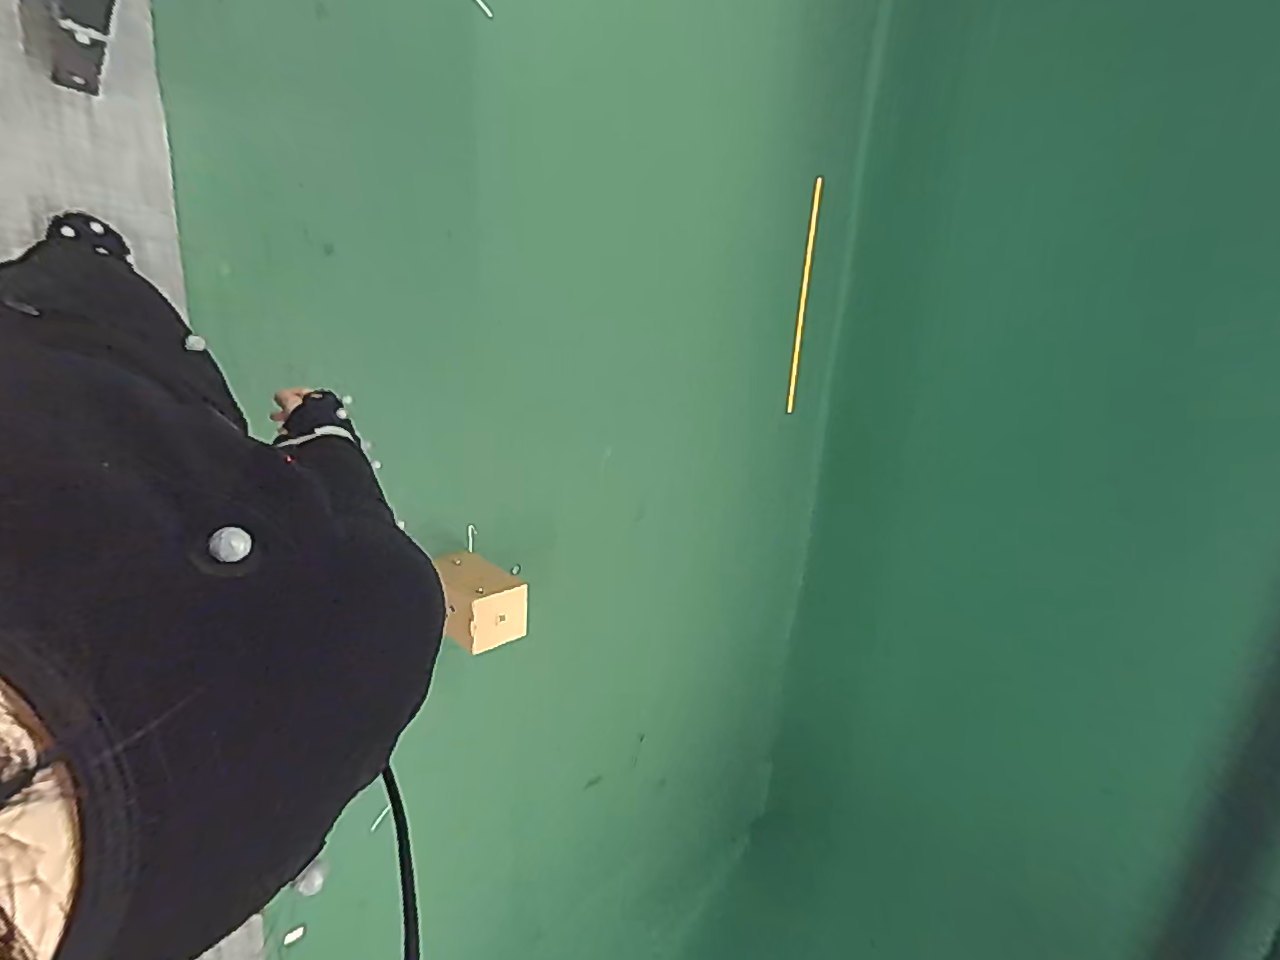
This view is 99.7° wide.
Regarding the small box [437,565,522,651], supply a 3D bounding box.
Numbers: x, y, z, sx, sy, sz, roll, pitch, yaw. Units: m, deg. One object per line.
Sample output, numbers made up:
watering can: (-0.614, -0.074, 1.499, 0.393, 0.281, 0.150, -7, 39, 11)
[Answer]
small box: (-0.463, 0.360, 1.560, 0.179, 0.176, 0.168, -10, 110, -46)
